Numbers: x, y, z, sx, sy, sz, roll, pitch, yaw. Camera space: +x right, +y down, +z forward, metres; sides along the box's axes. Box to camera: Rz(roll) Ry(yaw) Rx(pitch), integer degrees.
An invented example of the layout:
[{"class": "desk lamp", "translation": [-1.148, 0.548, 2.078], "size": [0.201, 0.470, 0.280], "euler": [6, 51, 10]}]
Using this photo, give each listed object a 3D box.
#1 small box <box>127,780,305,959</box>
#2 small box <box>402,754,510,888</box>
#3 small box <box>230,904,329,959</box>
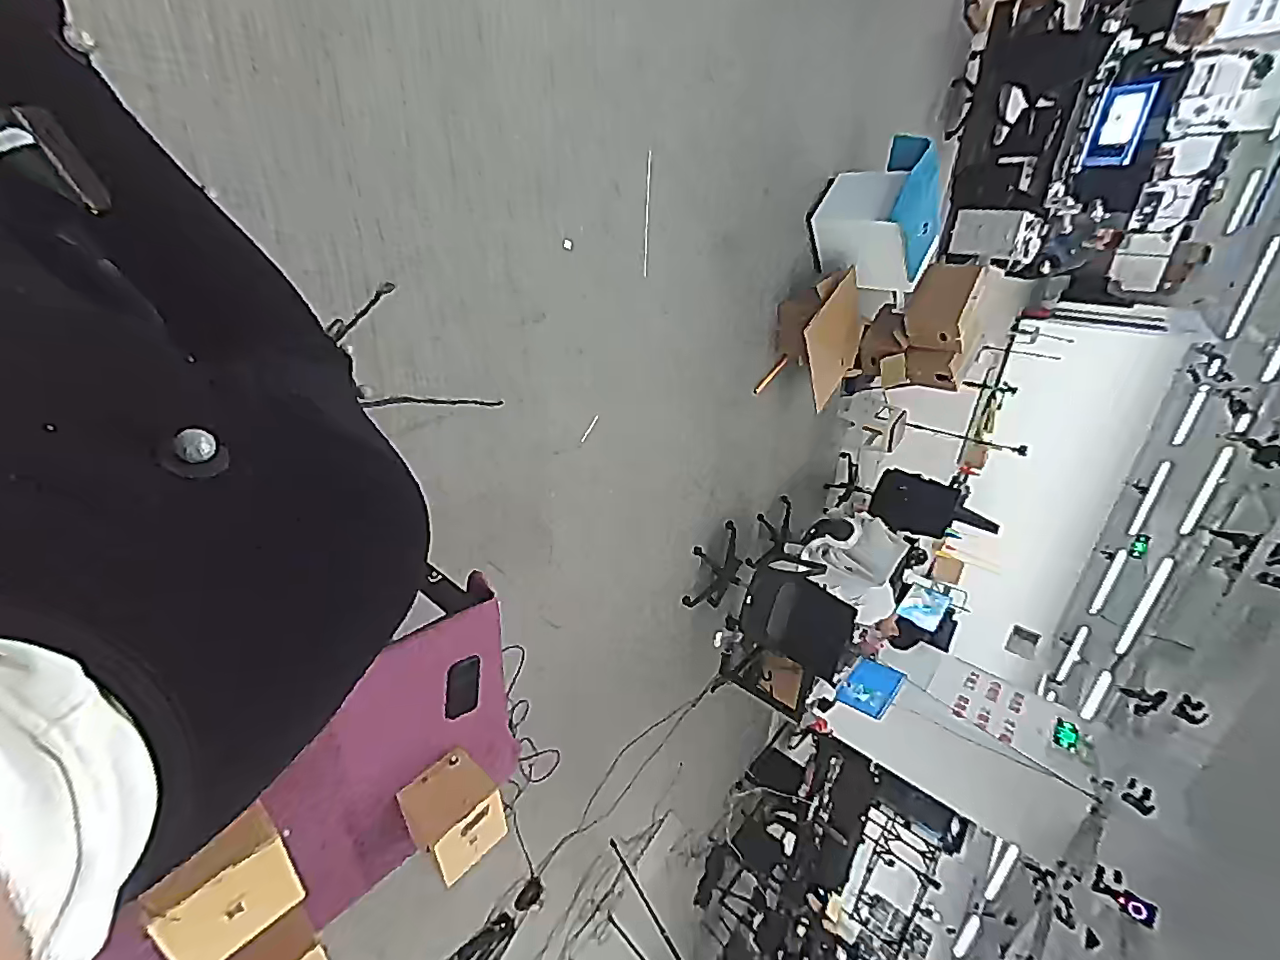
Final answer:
[{"class": "small box", "translation": [-0.674, 0.632, 0.866], "size": [0.168, 0.176, 0.179], "euler": [-26, 128, -42]}, {"class": "small box", "translation": [-0.427, 0.777, 1.254], "size": [0.168, 0.176, 0.179], "euler": [-28, 129, -41]}, {"class": "small box", "translation": [-0.687, 0.919, 1.002], "size": [0.168, 0.176, 0.179], "euler": [-26, 126, -44]}]
